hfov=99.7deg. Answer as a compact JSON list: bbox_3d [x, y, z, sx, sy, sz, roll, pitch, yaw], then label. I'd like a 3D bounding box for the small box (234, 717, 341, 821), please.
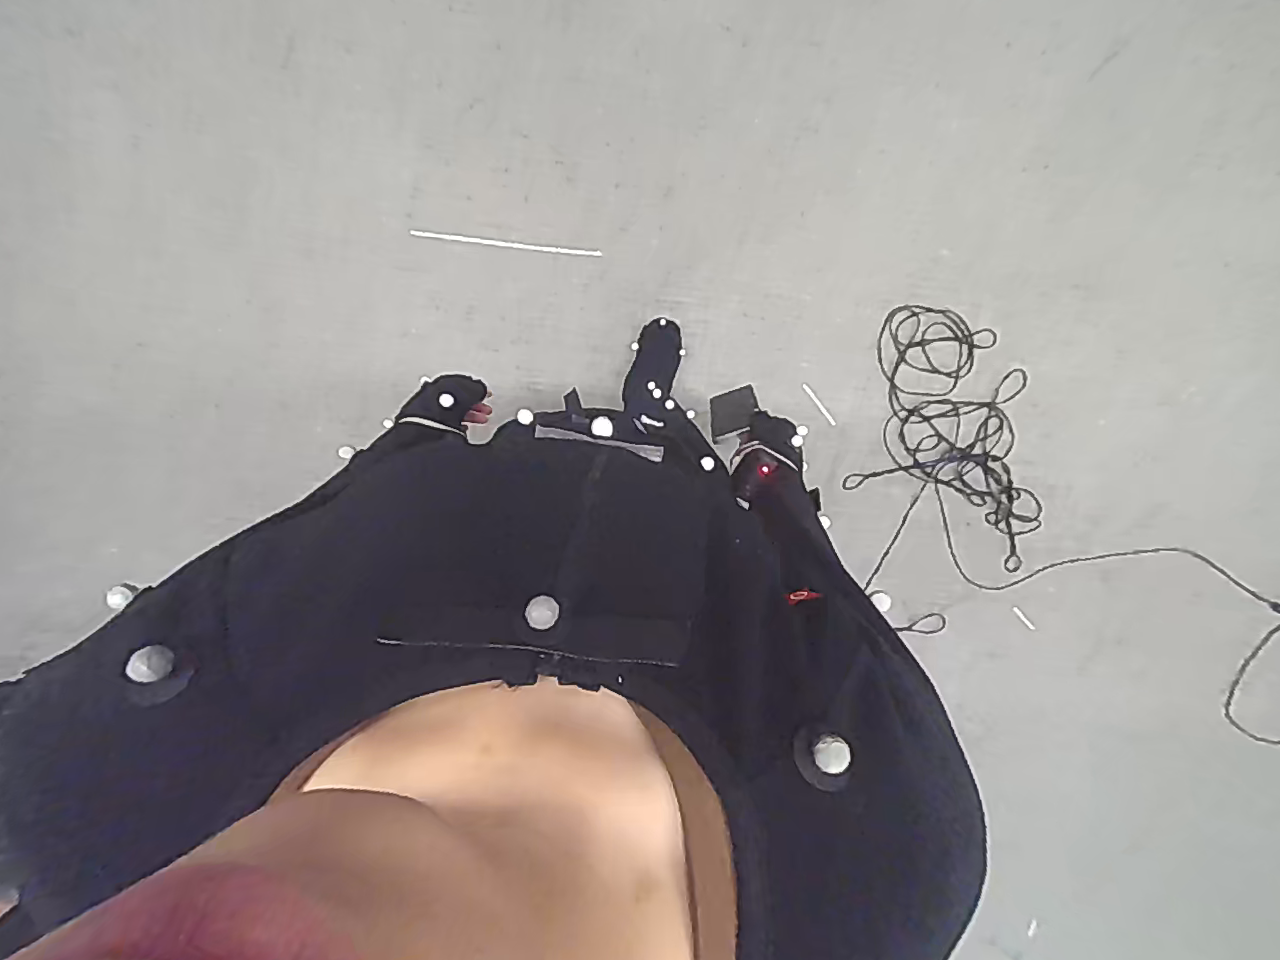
[{"bbox_3d":[-0.902,0.739,1.396,0.179,0.176,0.168,9,100,-4],"label":"small box"}]
